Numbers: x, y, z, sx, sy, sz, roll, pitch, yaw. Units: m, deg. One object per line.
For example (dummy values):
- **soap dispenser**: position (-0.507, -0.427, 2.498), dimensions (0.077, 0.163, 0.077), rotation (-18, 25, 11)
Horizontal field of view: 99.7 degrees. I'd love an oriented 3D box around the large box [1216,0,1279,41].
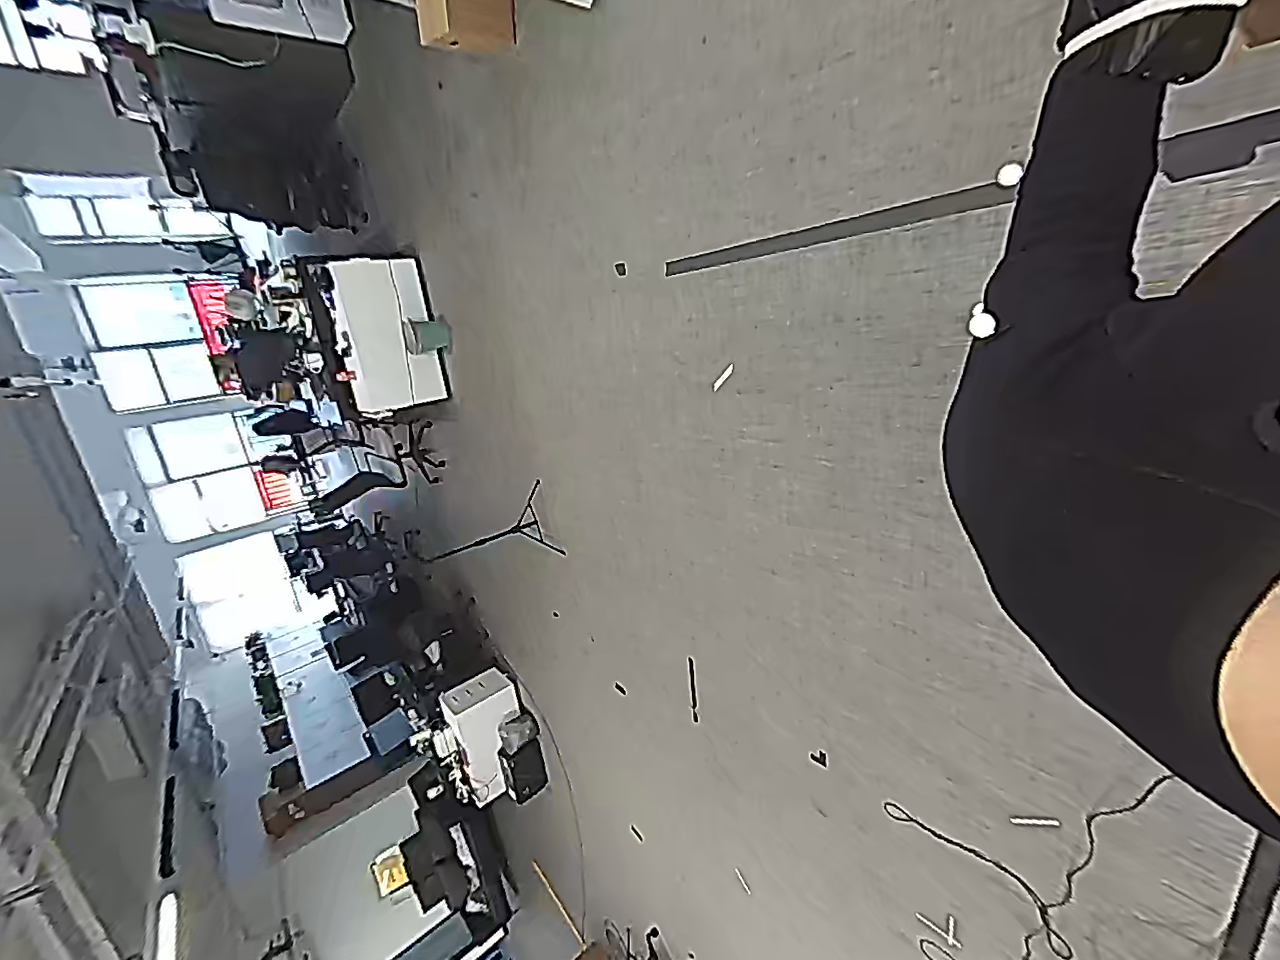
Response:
- **large box**: position (0.573, -0.486, 0.243), dimensions (0.408, 0.320, 0.320), rotation (14, 121, 48)
